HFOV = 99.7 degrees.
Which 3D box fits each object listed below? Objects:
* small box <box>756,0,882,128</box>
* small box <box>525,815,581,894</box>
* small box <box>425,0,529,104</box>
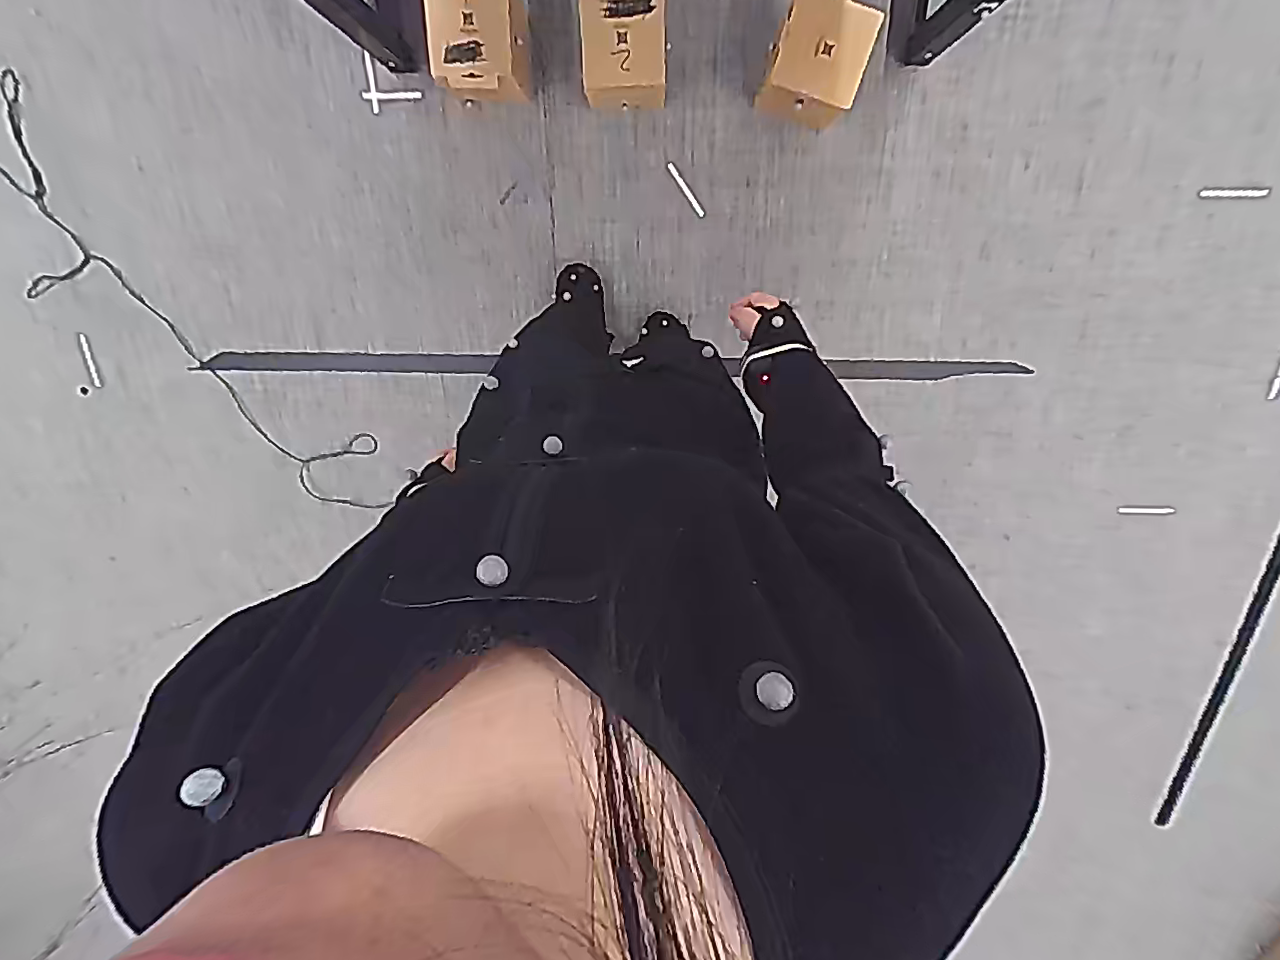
[{"bbox_3d":[0.360,-0.862,1.126,0.179,0.176,0.168,16,110,-4],"label":"small box"},{"bbox_3d":[-0.307,1.342,1.939,0.168,0.176,0.179,-1,111,2],"label":"small box"},{"bbox_3d":[-0.329,-0.906,1.121,0.168,0.176,0.179,1,109,1],"label":"small box"}]
